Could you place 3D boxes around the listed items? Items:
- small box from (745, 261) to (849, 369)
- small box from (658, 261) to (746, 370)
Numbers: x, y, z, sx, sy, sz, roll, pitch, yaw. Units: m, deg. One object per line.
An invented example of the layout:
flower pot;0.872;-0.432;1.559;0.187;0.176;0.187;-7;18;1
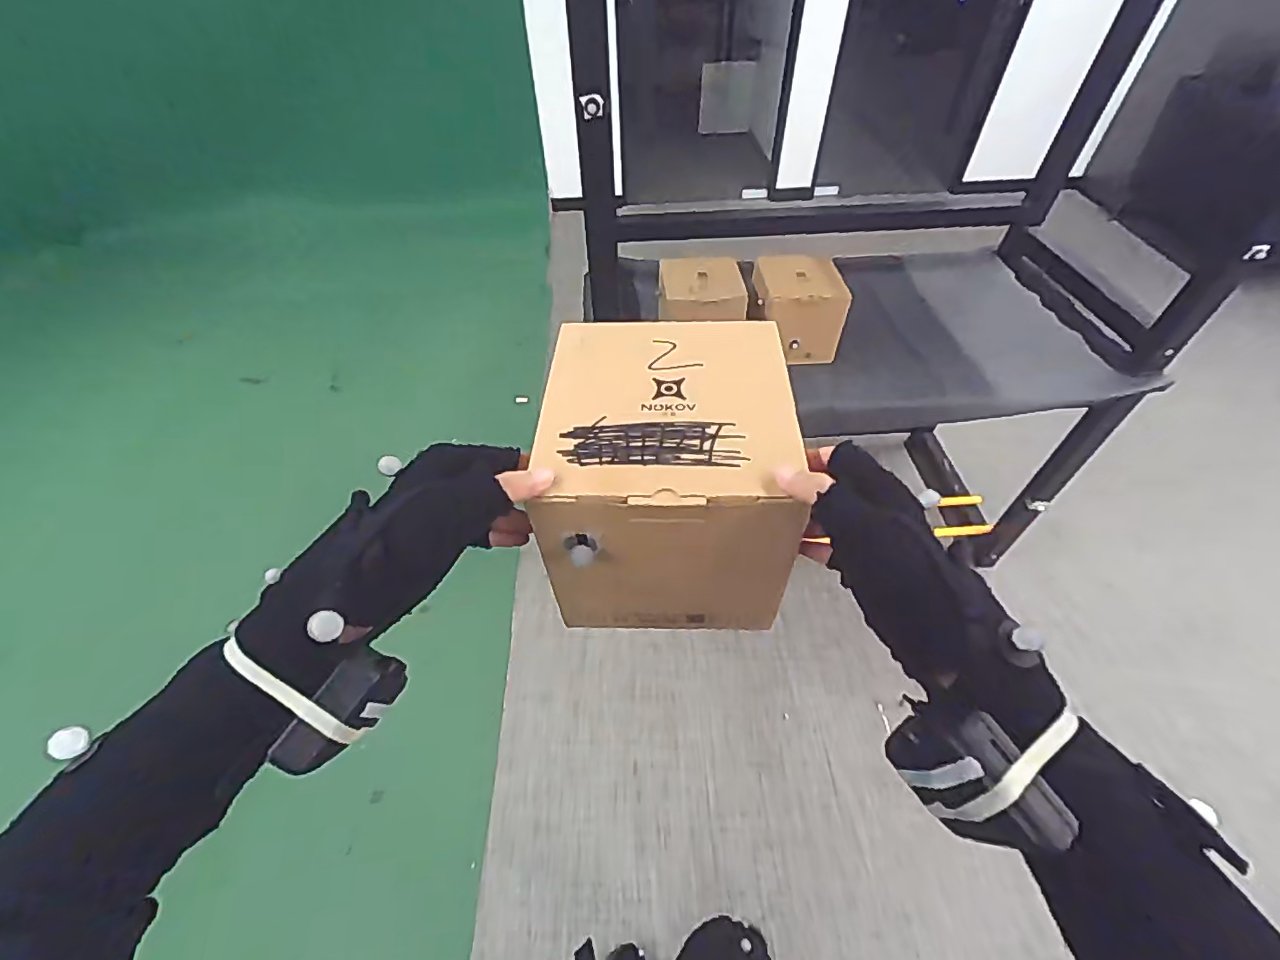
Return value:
small box;0.336;-0.365;1.198;0.168;0.176;0.179;-3;49;-1
small box;0.129;-0.362;1.195;0.168;0.176;0.179;-4;48;-2
